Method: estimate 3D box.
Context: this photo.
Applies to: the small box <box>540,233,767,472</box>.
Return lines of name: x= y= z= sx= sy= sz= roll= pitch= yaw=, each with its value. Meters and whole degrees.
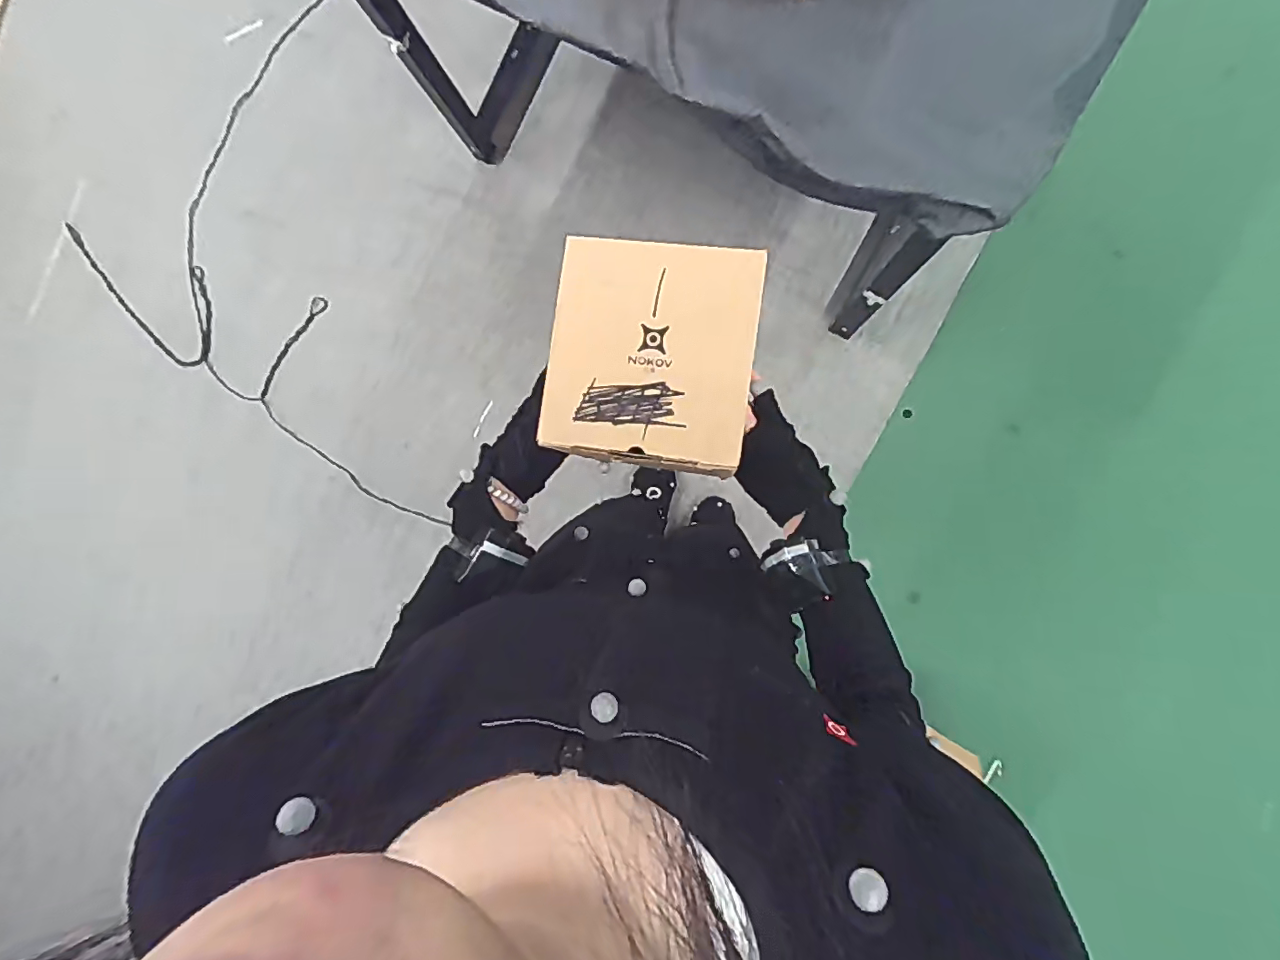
small box: x=0.019 y=-0.104 z=0.513 sx=0.168 sy=0.176 sz=0.179 roll=8 pitch=89 yaw=7
